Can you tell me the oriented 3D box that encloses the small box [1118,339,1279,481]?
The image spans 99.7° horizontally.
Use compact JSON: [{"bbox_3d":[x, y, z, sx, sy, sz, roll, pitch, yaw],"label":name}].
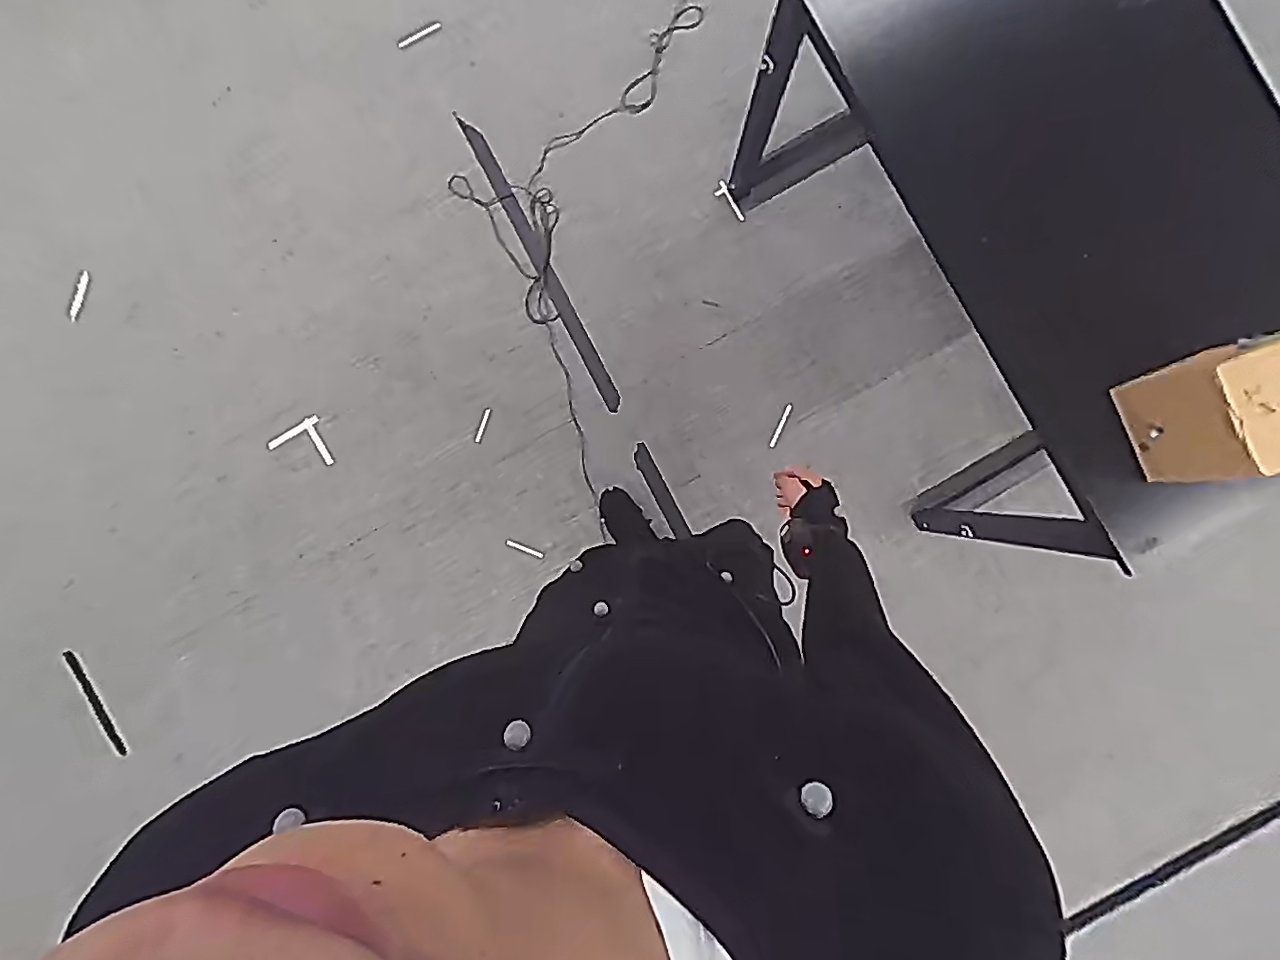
[{"bbox_3d":[0.889,-0.104,0.808,0.179,0.176,0.168,-21,88,0],"label":"small box"}]
